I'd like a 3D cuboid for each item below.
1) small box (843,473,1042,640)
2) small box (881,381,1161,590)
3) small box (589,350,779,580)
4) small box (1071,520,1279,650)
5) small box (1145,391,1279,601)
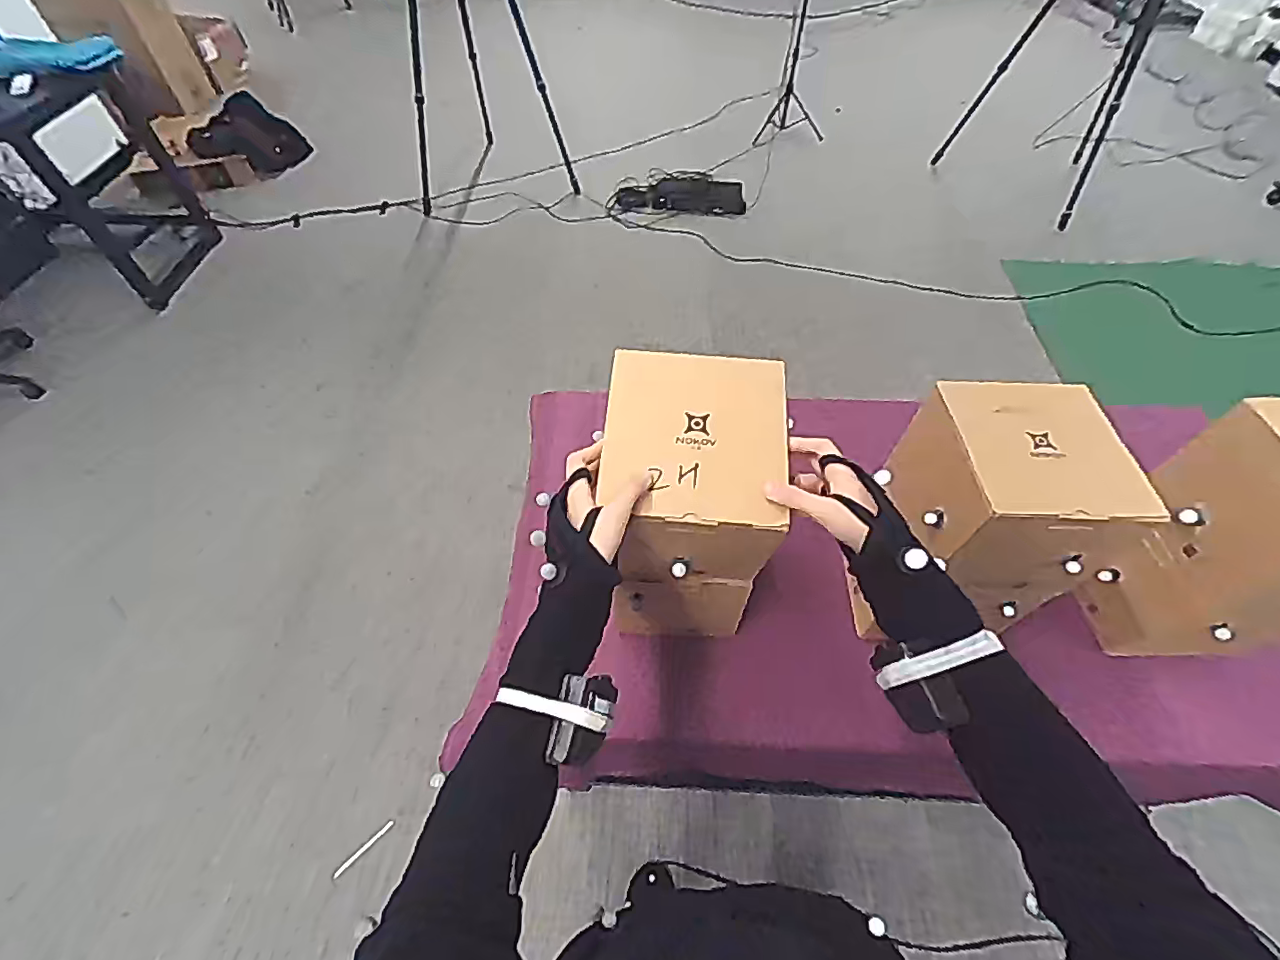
[{"bbox_3d":[0.390,0.107,0.735,0.179,0.176,0.168,2,53,2],"label":"small box"},{"bbox_3d":[0.396,0.010,0.605,0.168,0.176,0.179,1,52,0],"label":"small box"},{"bbox_3d":[0.044,-0.009,0.568,0.168,0.176,0.179,5,64,3],"label":"small box"},{"bbox_3d":[0.716,0.119,0.718,0.179,0.176,0.168,-1,53,1],"label":"small box"},{"bbox_3d":[0.714,0.023,0.584,0.179,0.176,0.168,0,53,1],"label":"small box"}]
